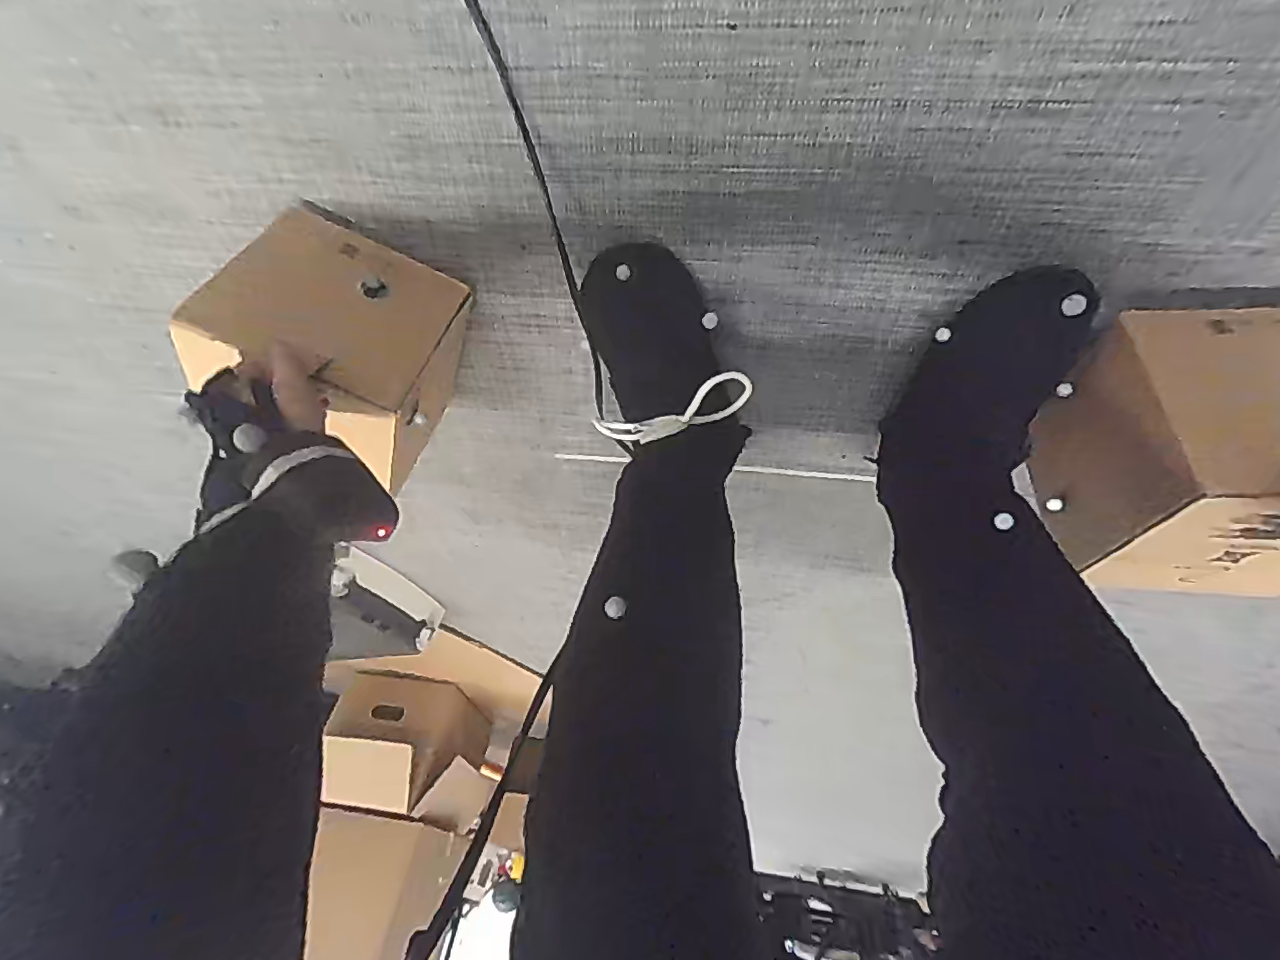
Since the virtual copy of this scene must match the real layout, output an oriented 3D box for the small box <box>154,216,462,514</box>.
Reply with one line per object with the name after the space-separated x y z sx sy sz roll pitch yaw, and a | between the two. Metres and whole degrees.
-0.282 -0.100 0.505 0.168 0.176 0.179 22 144 -12 | small box
